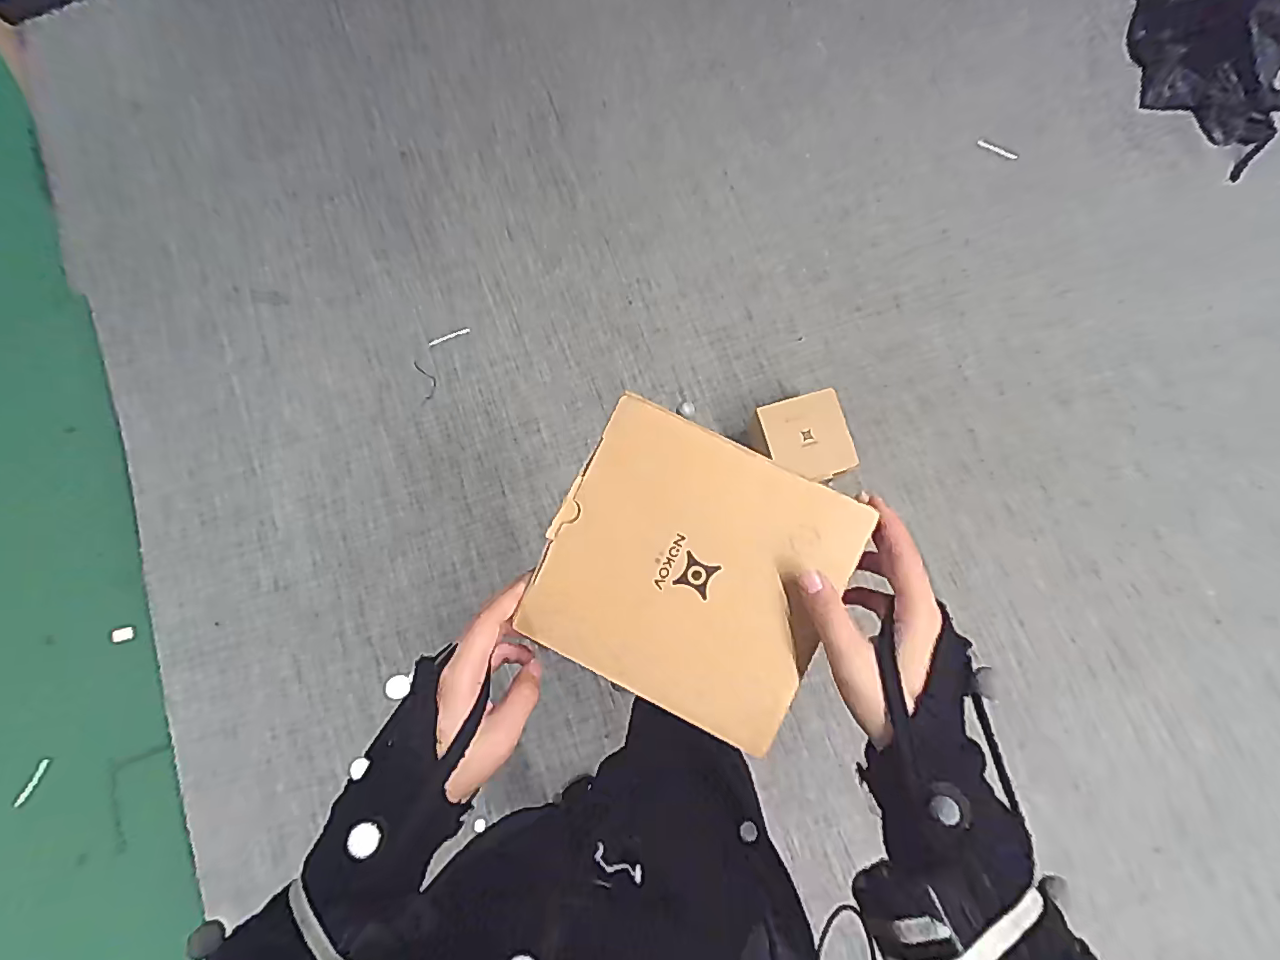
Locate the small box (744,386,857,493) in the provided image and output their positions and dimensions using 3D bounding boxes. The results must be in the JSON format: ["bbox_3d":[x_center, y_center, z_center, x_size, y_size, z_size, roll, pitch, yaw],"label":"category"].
[{"bbox_3d":[0.332,-0.075,1.156,0.168,0.176,0.179,-16,80,-1],"label":"small box"}]
